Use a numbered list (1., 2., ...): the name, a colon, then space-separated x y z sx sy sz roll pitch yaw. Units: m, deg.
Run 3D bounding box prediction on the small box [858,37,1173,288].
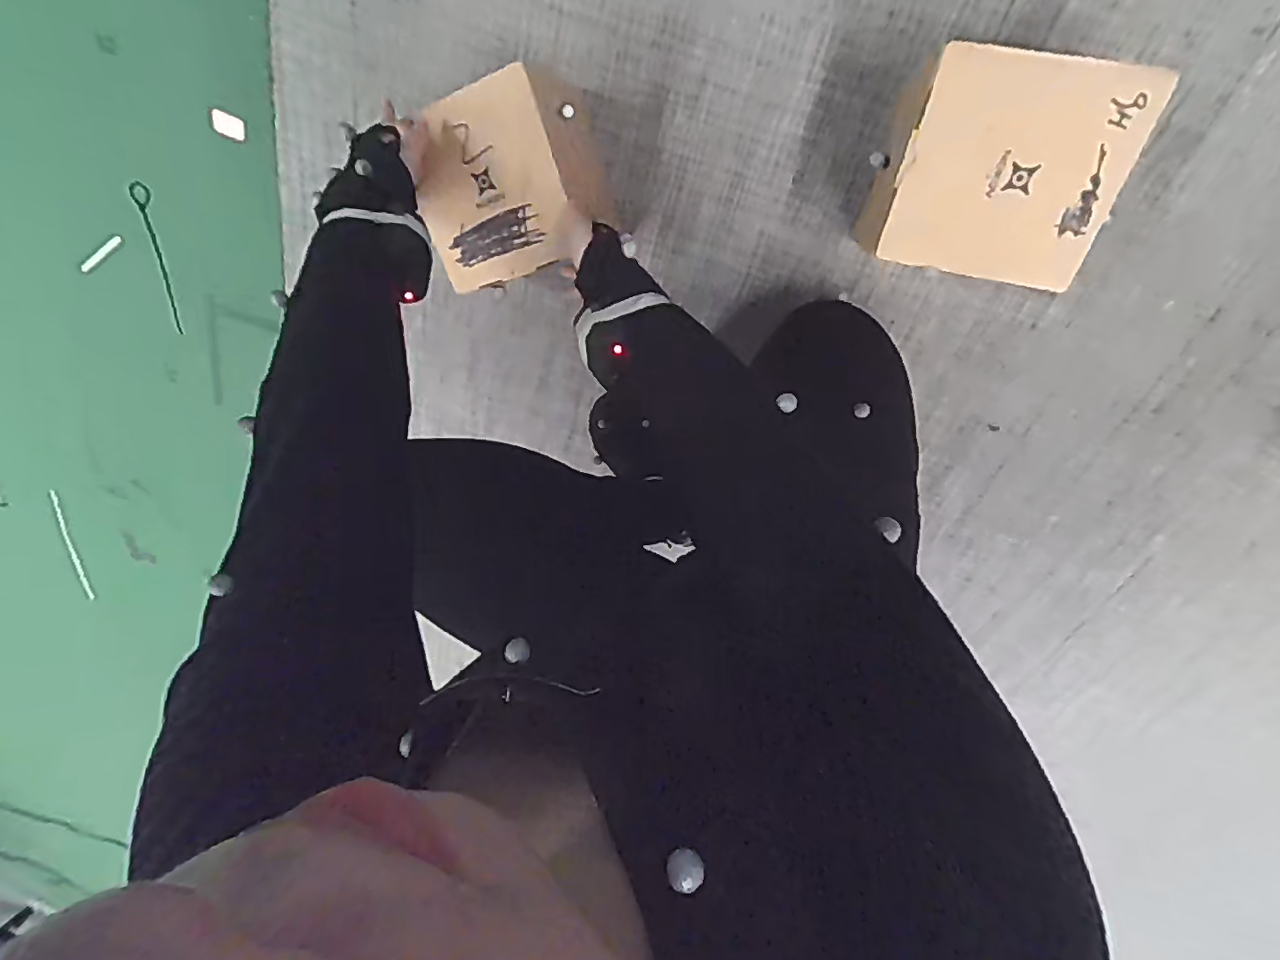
1. small box: 0.330 -0.300 0.529 0.179 0.176 0.168 14 121 8
